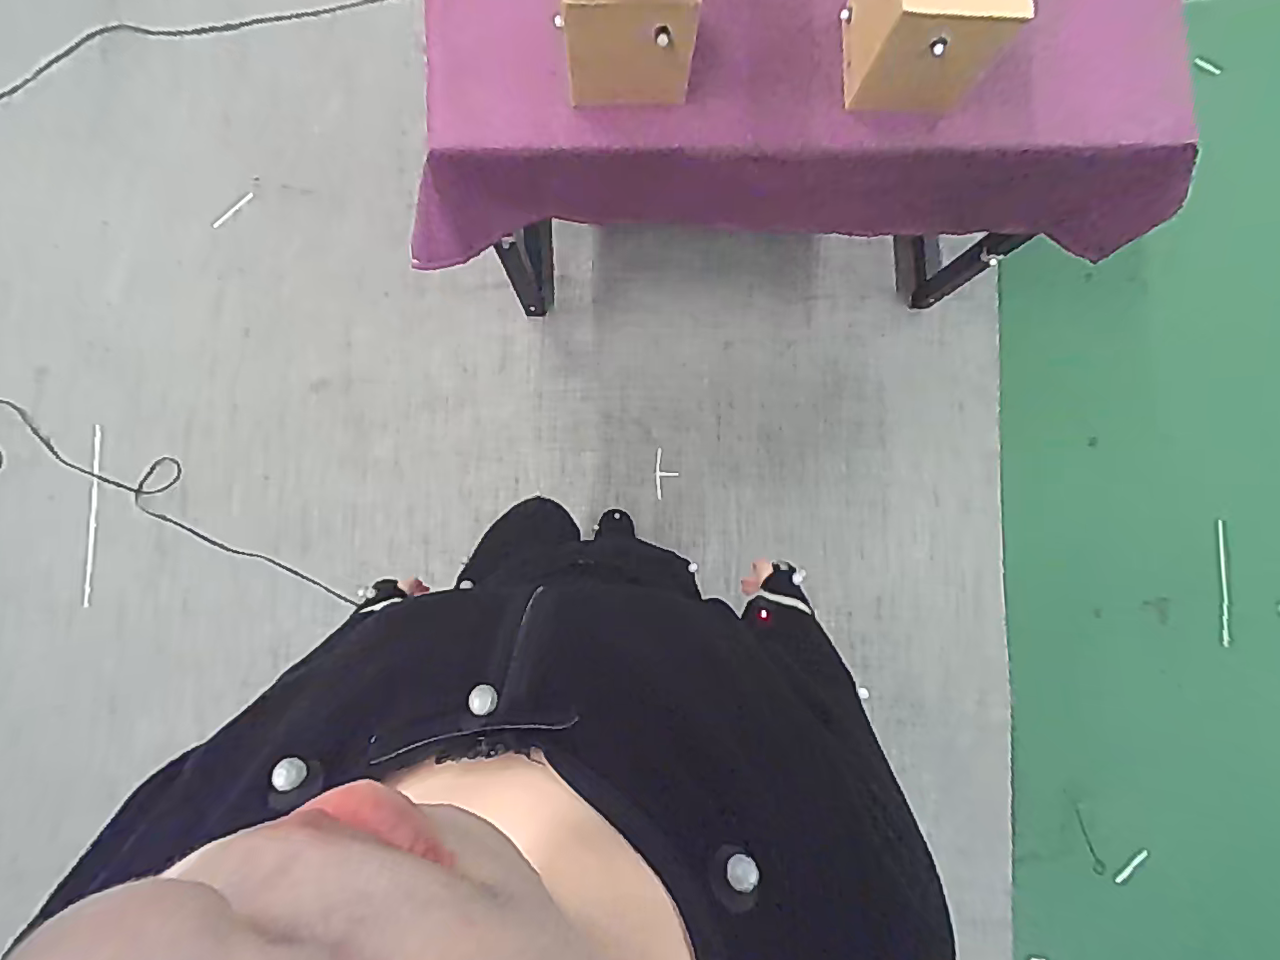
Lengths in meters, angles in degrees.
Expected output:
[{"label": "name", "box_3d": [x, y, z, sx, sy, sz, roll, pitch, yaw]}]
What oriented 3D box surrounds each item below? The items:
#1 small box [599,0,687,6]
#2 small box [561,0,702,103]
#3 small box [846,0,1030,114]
[{"label": "small box", "box_3d": [-0.012, -0.674, 0.585, 0.168, 0.176, 0.179, -2, 87, -3]}, {"label": "small box", "box_3d": [-0.017, -0.659, 0.748, 0.179, 0.176, 0.168, -2, 86, -3]}, {"label": "small box", "box_3d": [0.406, -0.657, 0.767, 0.179, 0.176, 0.168, 1, 87, -3]}]
